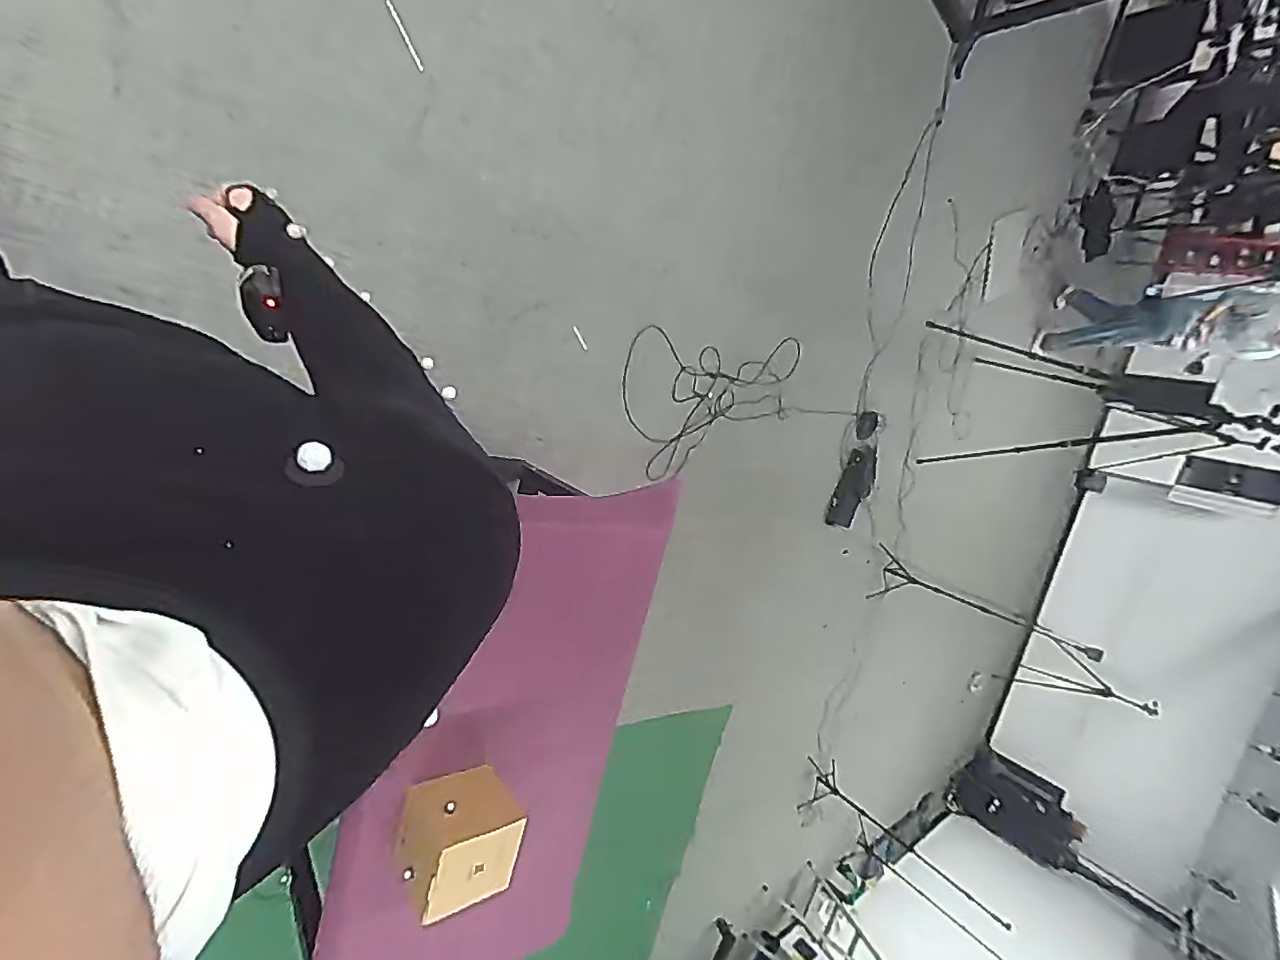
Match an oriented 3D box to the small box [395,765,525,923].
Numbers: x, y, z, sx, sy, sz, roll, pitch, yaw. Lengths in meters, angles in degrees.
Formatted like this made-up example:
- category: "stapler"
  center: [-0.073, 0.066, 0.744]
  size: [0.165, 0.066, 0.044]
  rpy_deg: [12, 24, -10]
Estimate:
- category: "small box"
  center: [-0.363, 0.707, 1.074]
  size: [0.179, 0.176, 0.168]
  rpy_deg: [9, 101, -44]
